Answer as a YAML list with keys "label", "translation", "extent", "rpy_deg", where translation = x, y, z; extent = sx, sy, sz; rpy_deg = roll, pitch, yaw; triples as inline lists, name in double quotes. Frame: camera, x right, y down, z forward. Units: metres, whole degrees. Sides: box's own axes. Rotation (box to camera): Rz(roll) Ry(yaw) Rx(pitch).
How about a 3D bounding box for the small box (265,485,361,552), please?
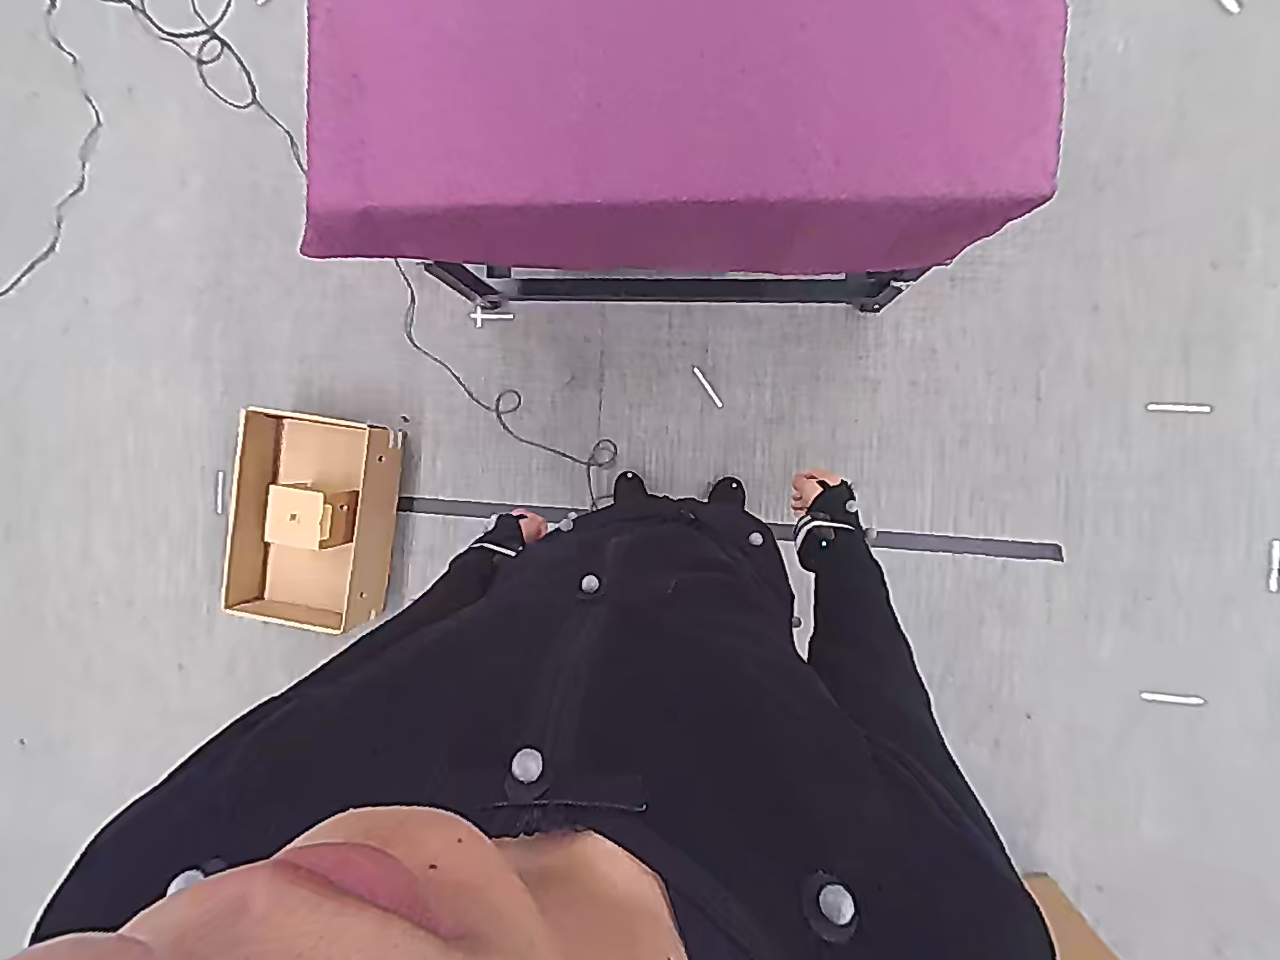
- label: "small box"
  translation: [-0.965, 0.108, 1.609]
  extent: [0.179, 0.176, 0.168]
  rpy_deg: [9, 92, 6]
